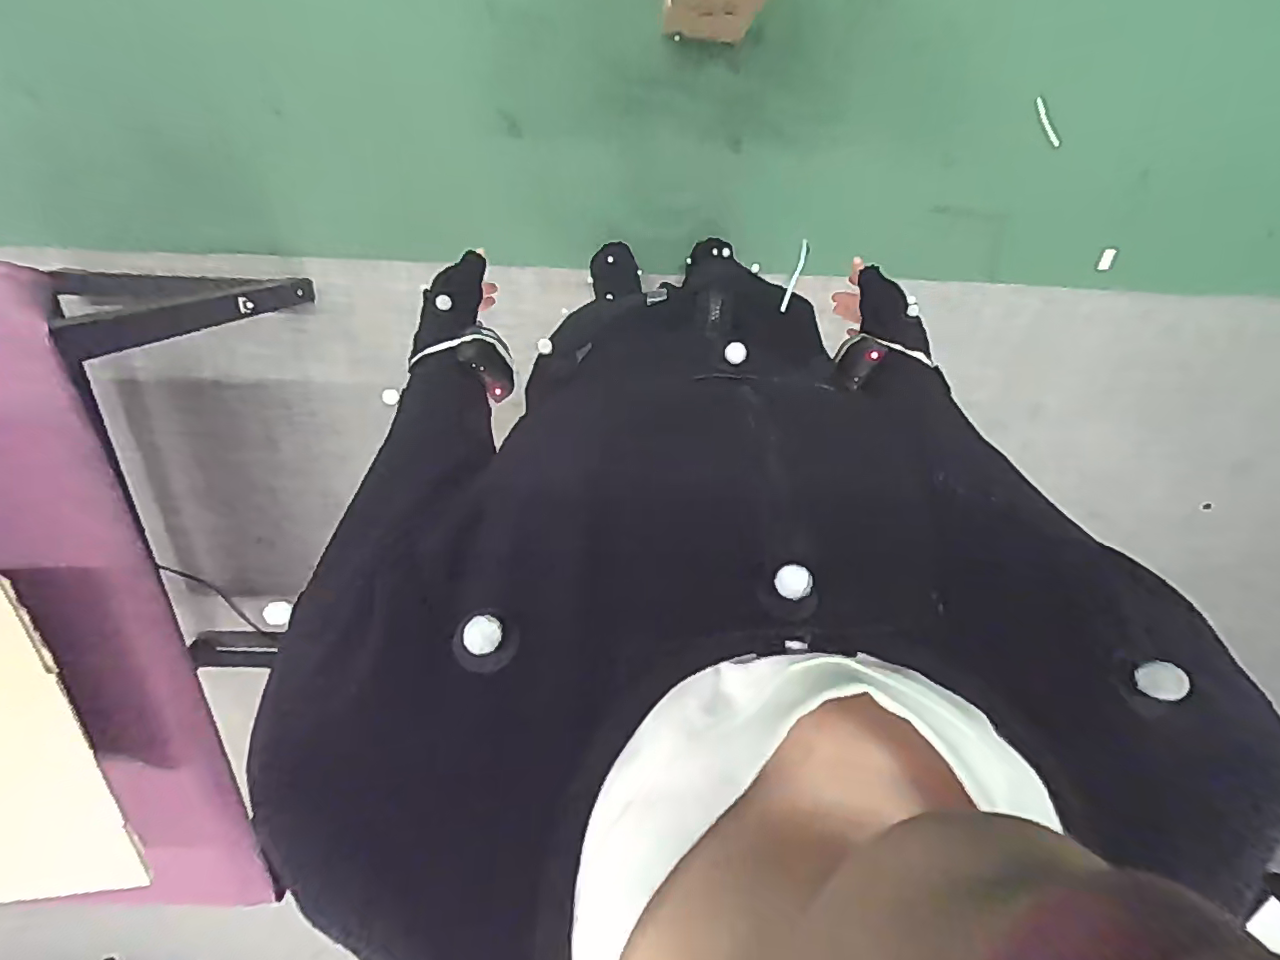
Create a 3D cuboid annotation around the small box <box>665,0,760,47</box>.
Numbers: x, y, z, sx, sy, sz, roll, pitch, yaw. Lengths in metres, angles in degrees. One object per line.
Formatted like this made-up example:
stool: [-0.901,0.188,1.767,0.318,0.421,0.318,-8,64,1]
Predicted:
small box: [0.140,-0.955,1.025,0.168,0.176,0.179,3,114,-4]
